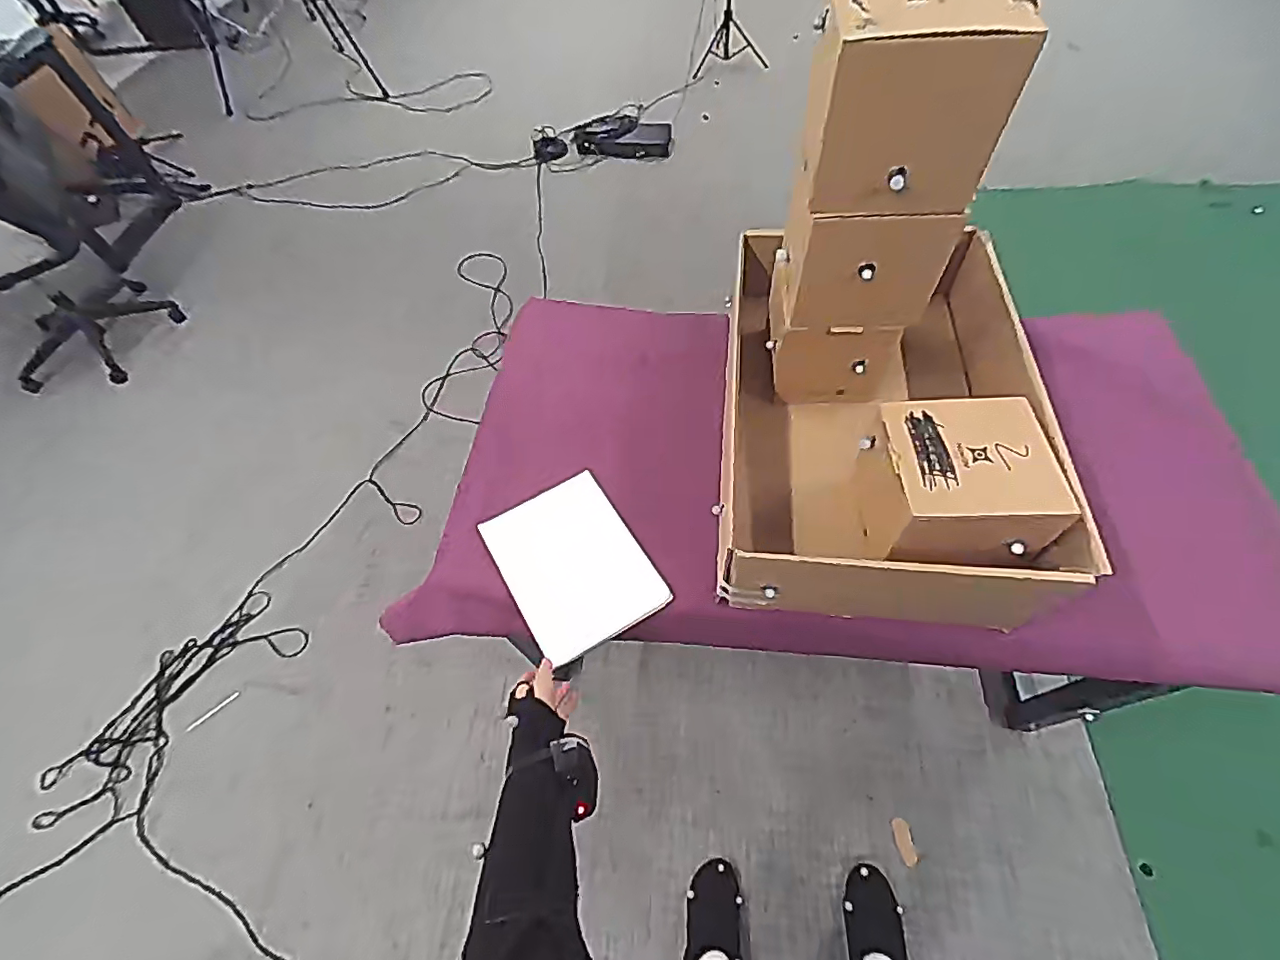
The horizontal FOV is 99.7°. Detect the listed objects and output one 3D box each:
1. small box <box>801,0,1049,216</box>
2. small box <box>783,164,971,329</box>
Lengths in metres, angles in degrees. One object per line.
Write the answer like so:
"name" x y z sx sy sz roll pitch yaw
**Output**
"small box" 0.282 -0.407 0.584 0.179 0.176 0.168 3 58 6
"small box" 0.297 -0.317 0.721 0.179 0.176 0.168 1 58 6
